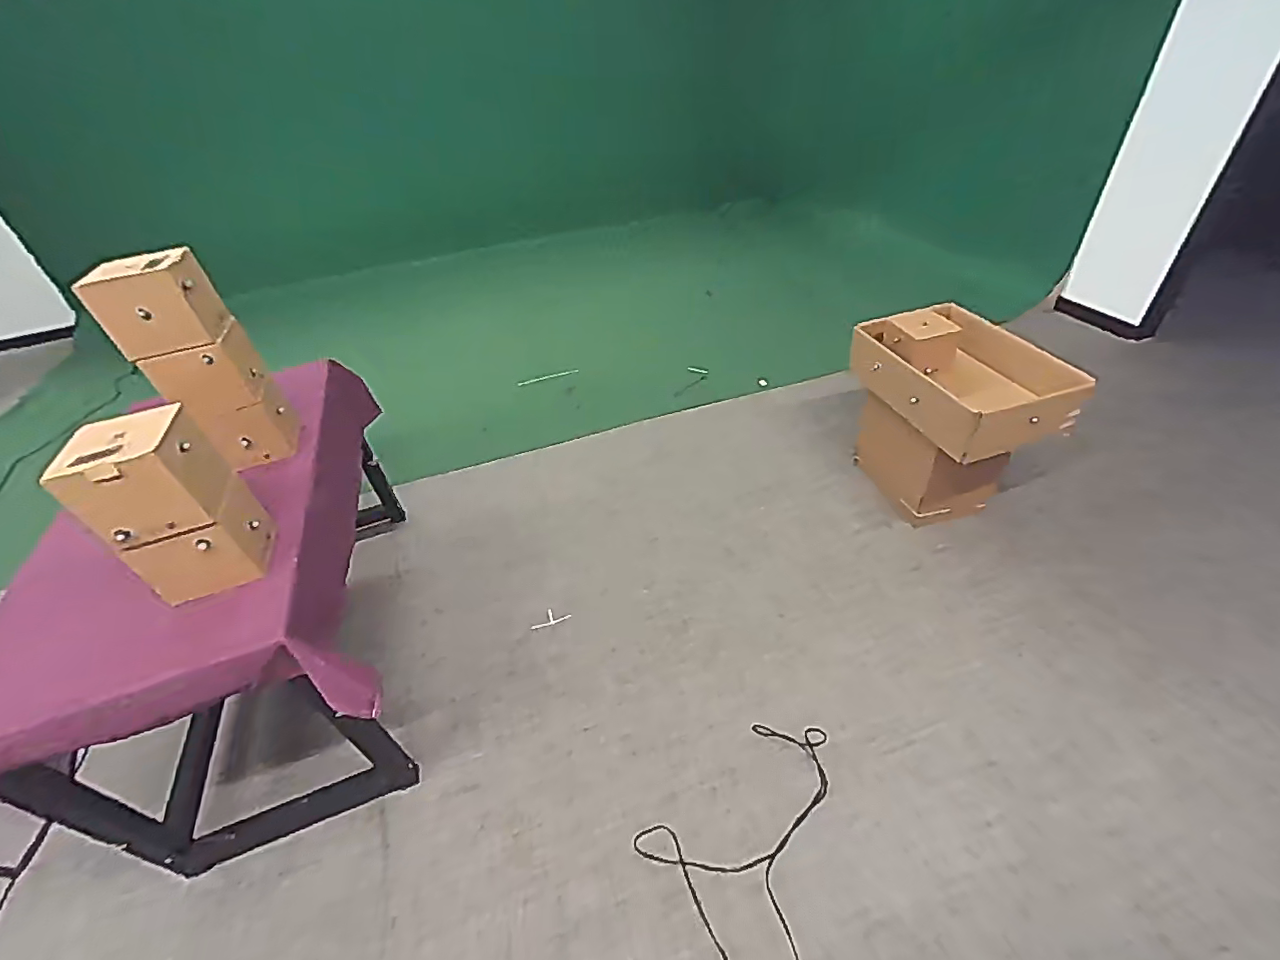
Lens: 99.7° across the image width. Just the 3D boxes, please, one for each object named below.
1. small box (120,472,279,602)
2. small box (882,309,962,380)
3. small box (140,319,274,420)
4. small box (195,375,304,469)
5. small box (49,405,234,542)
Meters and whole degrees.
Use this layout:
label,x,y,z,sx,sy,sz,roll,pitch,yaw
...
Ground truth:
label,x,y,z,sx,sy,sz,roll,pitch,yaw
small box,-0.875,0.116,1.100,0.179,0.176,0.168,-18,41,-11
small box,0.966,-0.469,1.872,0.168,0.176,0.179,-14,40,-6
small box,-1.044,-0.267,1.321,0.179,0.176,0.168,-17,41,-11
small box,-1.021,-0.148,1.431,0.168,0.176,0.179,-18,42,-12
small box,-0.892,-0.007,0.993,0.168,0.176,0.179,-18,41,-12
